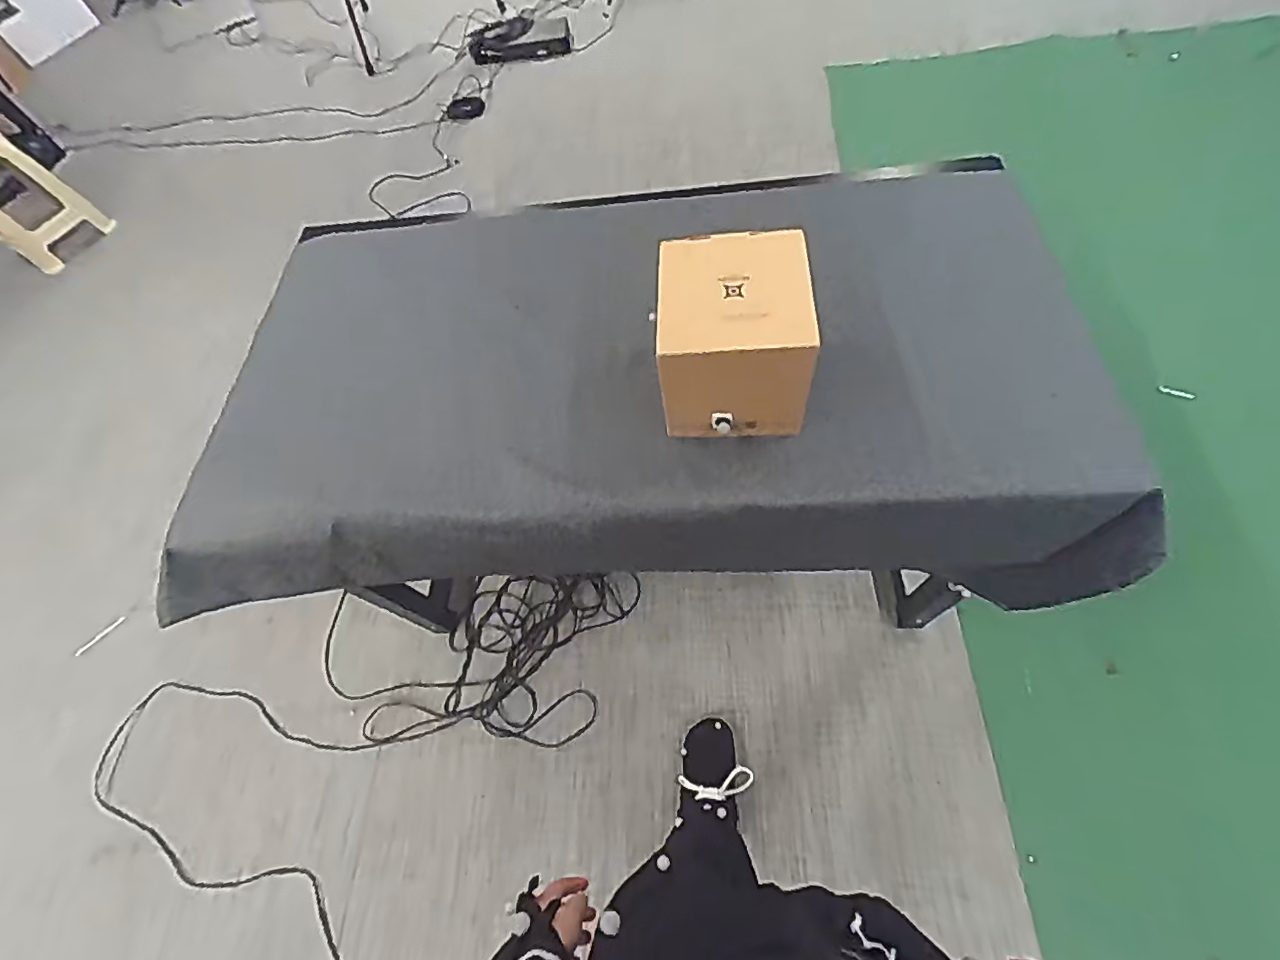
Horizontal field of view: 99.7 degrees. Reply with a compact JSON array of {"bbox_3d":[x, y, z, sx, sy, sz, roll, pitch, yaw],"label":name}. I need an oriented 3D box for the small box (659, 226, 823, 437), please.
[{"bbox_3d":[0.113,-0.170,0.647,0.168,0.176,0.179,-2,63,8],"label":"small box"}]
